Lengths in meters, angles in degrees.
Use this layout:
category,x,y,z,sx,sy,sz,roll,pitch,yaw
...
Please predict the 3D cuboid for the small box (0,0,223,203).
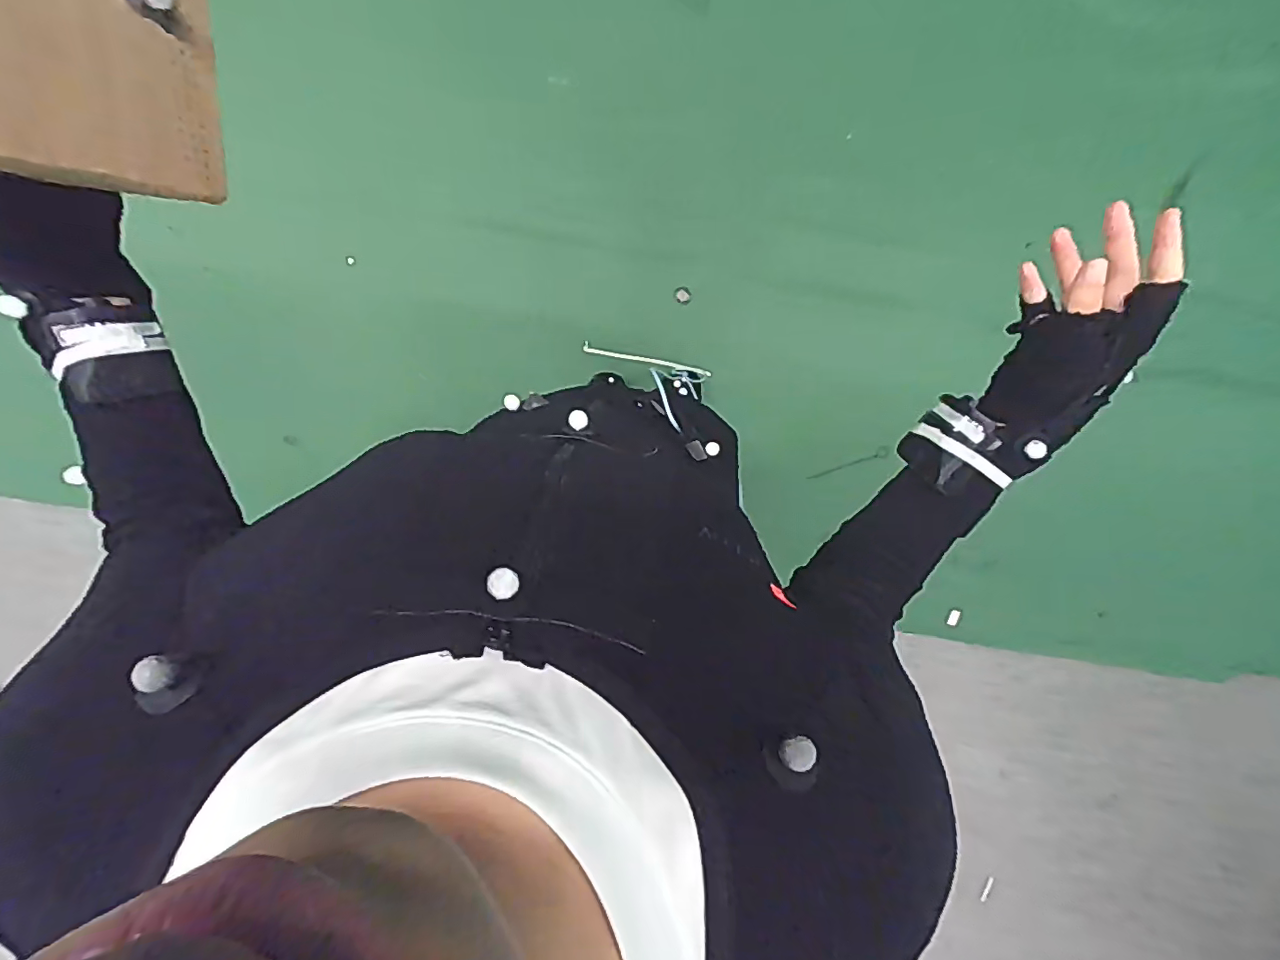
category,x,y,z,sx,sy,sz,roll,pitch,yaw
small box,-0.318,-0.233,0.220,0.168,0.176,0.179,11,109,7
